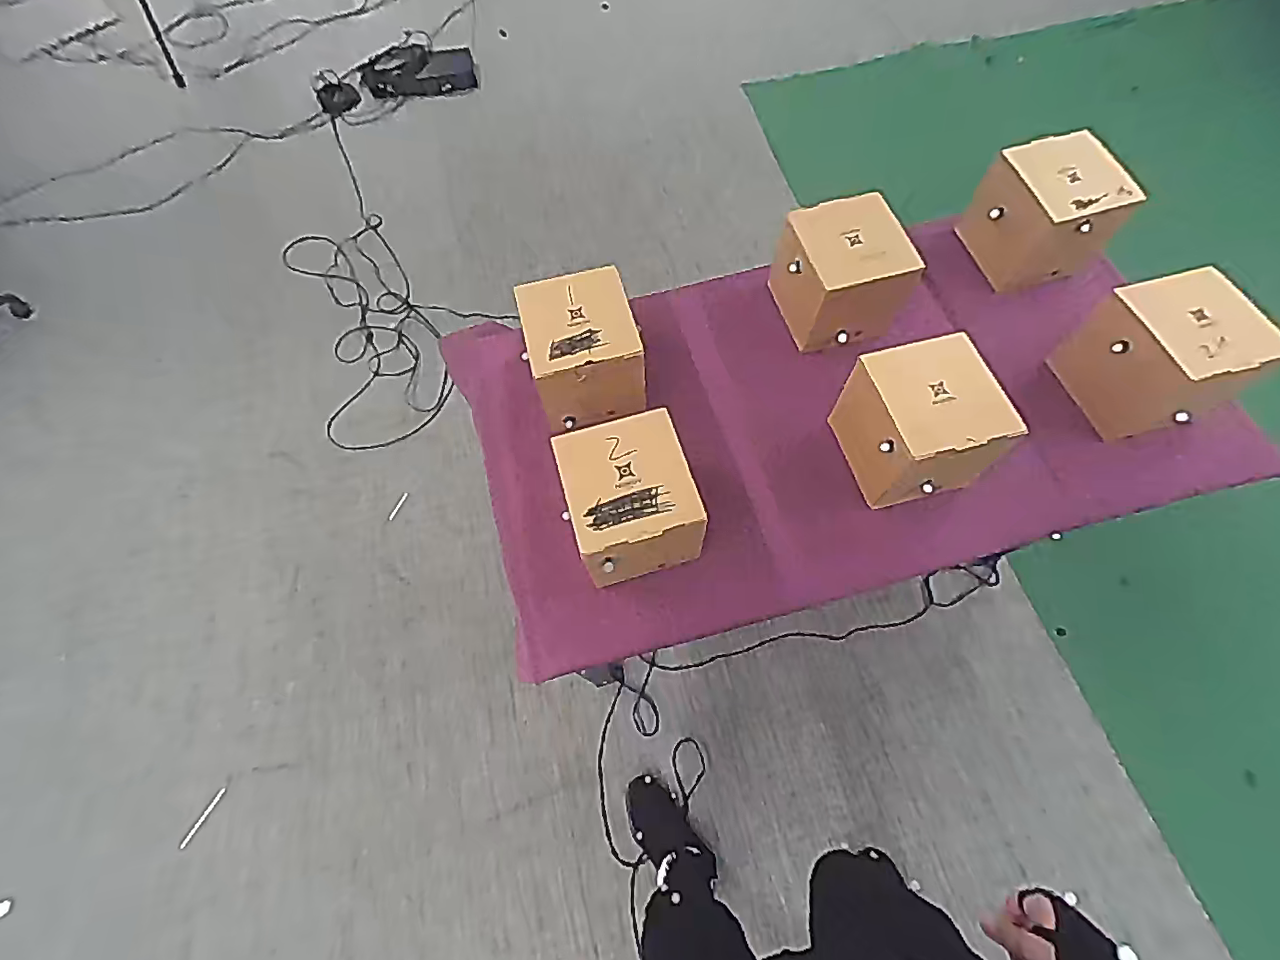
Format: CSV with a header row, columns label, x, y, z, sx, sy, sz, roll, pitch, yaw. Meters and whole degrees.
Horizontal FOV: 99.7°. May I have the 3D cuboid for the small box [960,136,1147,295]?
label,x,y,z,sx,sy,sz,roll,pitch,yaw
small box,0.722,-0.469,0.972,0.168,0.176,0.179,-15,67,-3

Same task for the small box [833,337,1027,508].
label,x,y,z,sx,sy,sz,roll,pitch,yaw
small box,0.414,-0.082,0.812,0.168,0.176,0.179,-13,65,-4

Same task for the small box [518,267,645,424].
label,x,y,z,sx,sy,sz,roll,pitch,yaw
small box,-0.089,-0.208,0.884,0.168,0.176,0.179,-14,67,-5

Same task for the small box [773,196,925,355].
label,x,y,z,sx,sy,sz,roll,pitch,yaw
small box,0.344,-0.347,0.935,0.168,0.176,0.179,-14,68,-4

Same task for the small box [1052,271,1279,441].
label,x,y,z,sx,sy,sz,roll,pitch,yaw
small box,0.804,-0.187,0.841,0.168,0.176,0.179,-13,65,-3
